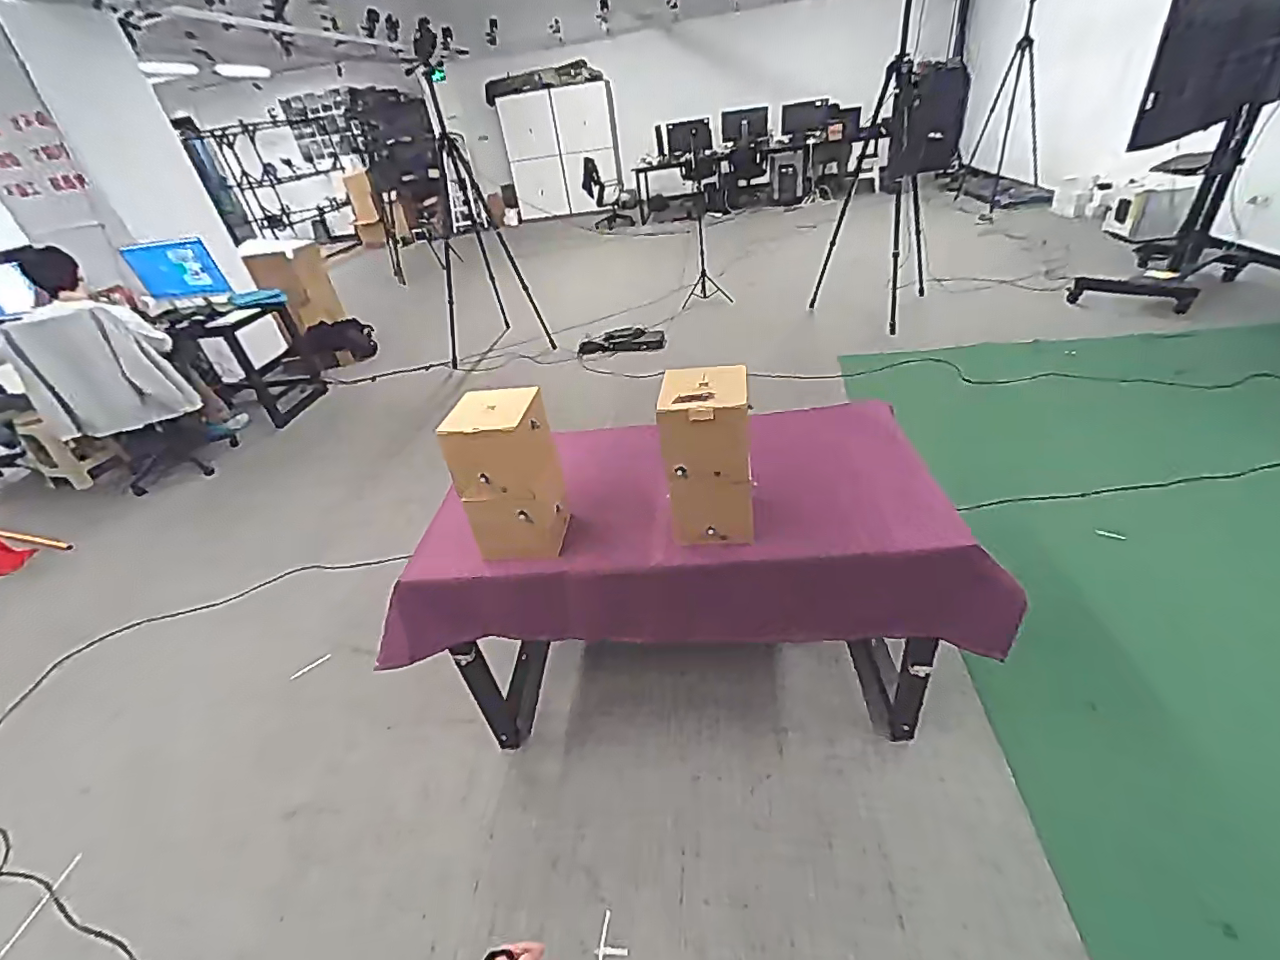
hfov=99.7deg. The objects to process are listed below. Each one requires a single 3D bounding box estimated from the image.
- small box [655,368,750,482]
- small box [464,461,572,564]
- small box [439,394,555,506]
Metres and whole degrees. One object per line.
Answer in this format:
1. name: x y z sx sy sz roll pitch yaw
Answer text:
1. small box: 0.132 -0.105 1.080 0.168 0.176 0.179 -2 34 12
2. small box: -0.262 0.075 1.219 0.179 0.176 0.168 -4 34 9
3. small box: -0.288 -0.063 1.136 0.168 0.176 0.179 -3 35 10
